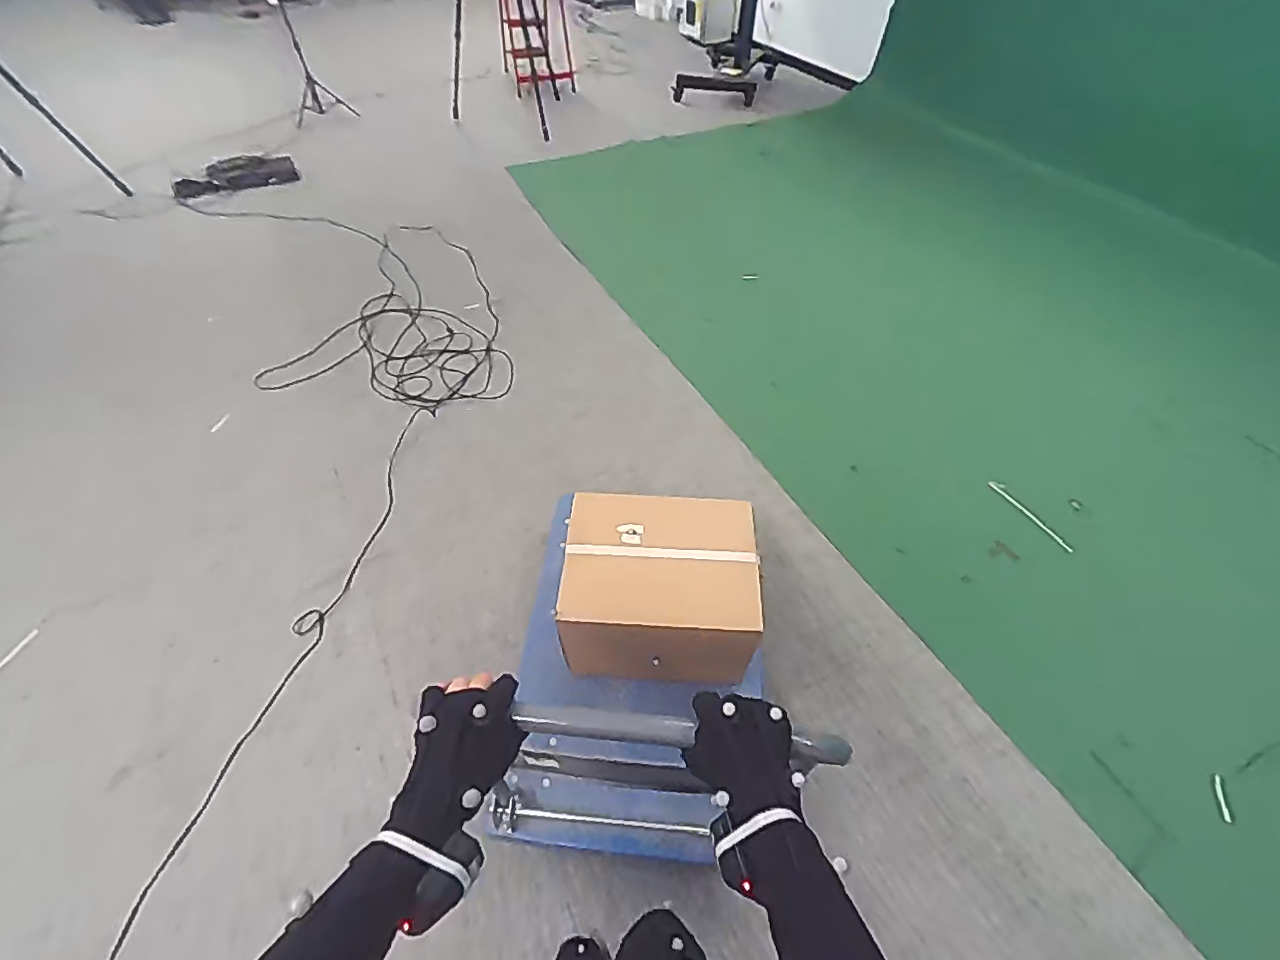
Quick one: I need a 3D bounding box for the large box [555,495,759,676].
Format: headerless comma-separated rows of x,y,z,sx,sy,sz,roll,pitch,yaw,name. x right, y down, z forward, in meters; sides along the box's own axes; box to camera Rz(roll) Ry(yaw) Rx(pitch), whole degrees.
0.037,0.251,1.254,0.408,0.320,0.320,2,51,1,large box
